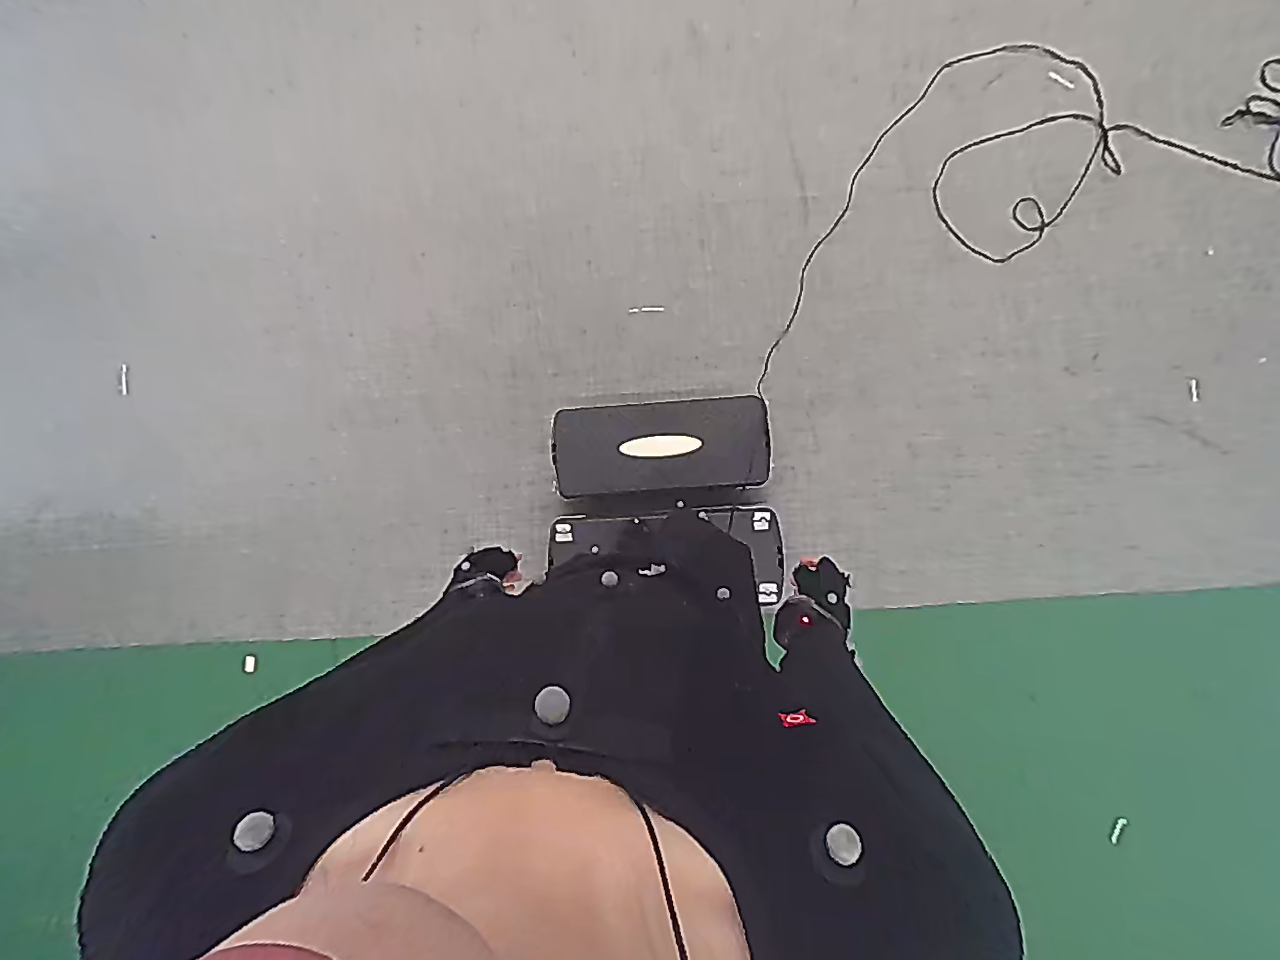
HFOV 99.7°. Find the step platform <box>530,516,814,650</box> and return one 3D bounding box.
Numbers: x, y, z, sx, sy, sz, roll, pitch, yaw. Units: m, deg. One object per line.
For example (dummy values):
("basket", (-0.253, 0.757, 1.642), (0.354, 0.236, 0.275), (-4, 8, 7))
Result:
("step platform", (0.075, 0.254, 1.387), (0.684, 0.204, 0.286), (-4, 85, 0))
